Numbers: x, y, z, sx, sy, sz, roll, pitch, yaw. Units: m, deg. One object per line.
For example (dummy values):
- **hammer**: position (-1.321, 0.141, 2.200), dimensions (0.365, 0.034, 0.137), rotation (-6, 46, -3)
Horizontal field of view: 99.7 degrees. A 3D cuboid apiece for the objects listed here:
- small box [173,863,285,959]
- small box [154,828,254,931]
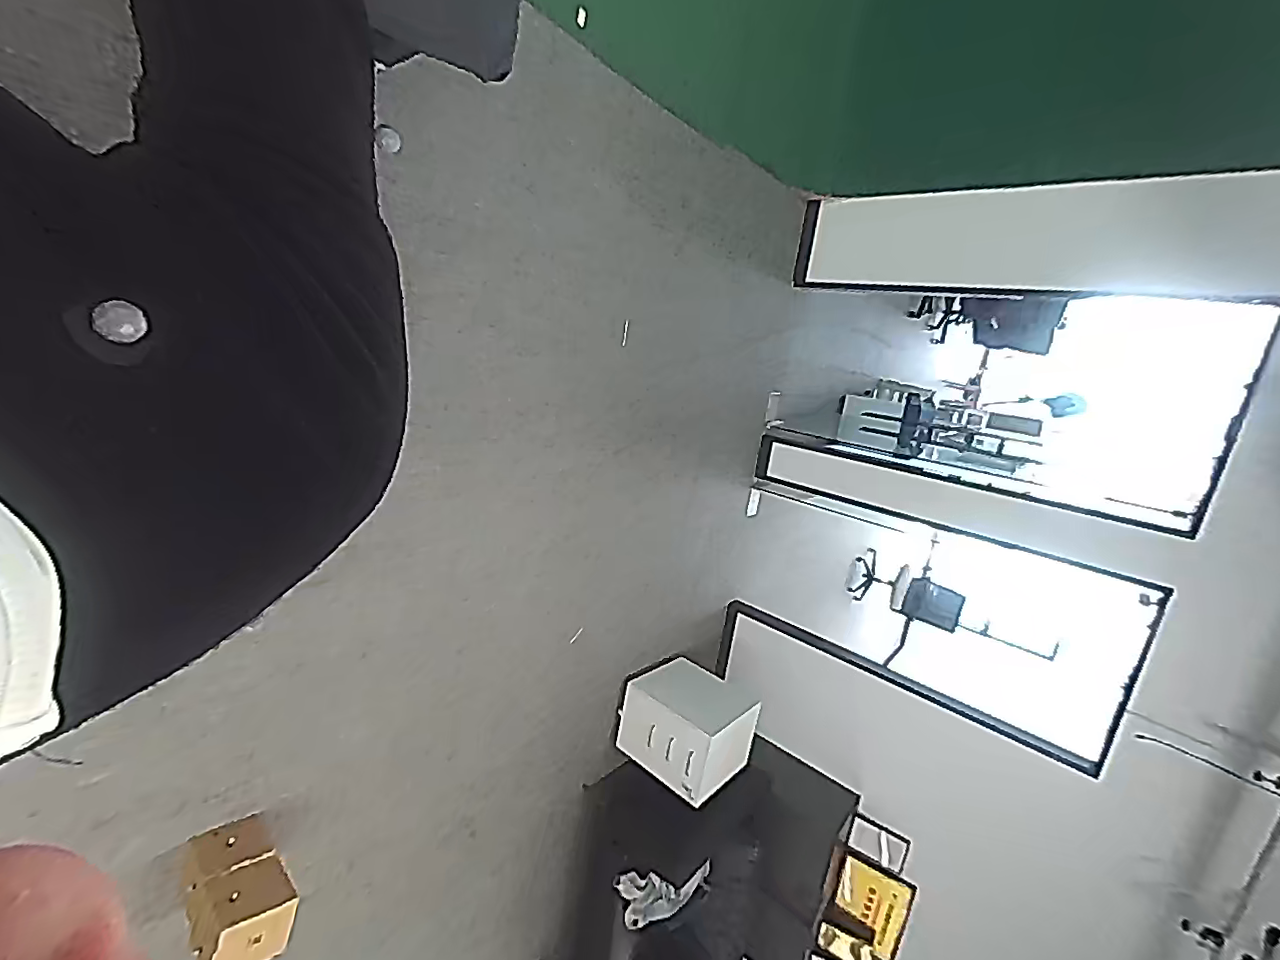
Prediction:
- **small box**: position (-1.062, 1.148, 1.392), dimensions (0.179, 0.176, 0.168), rotation (12, 97, -54)
- **small box**: position (-1.179, 1.113, 1.488), dimensions (0.179, 0.176, 0.168), rotation (-36, 132, -40)
